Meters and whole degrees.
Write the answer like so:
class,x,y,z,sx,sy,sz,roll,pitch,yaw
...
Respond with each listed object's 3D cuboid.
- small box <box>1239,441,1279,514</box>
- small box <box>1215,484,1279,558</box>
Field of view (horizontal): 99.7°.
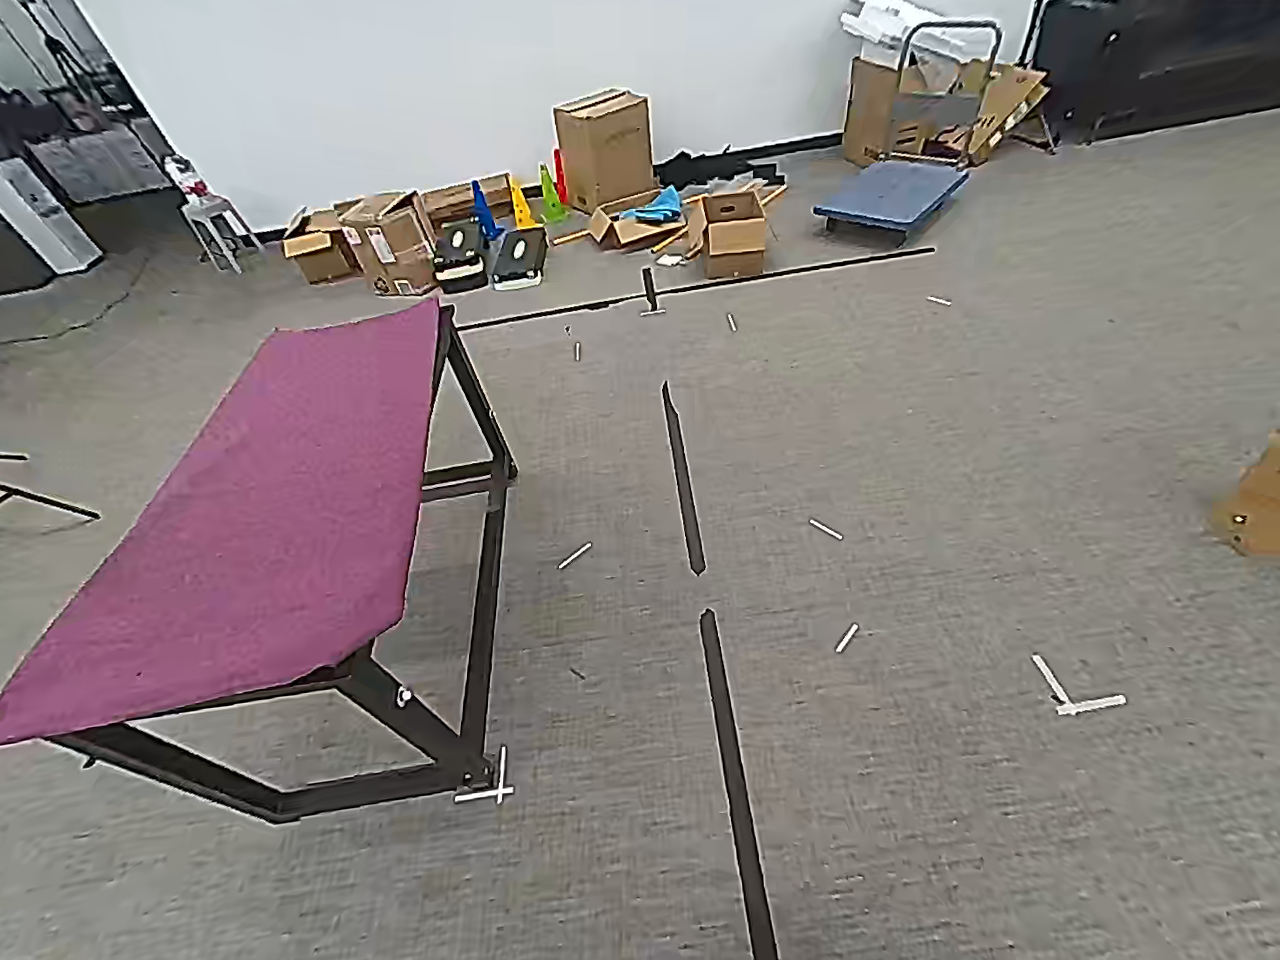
class,x,y,z,sx,sy,sz,roll,pitch,yaw
small box,1.799,-0.005,1.442,0.168,0.176,0.179,-13,45,-2
small box,1.831,0.109,1.554,0.179,0.176,0.168,-7,46,3
